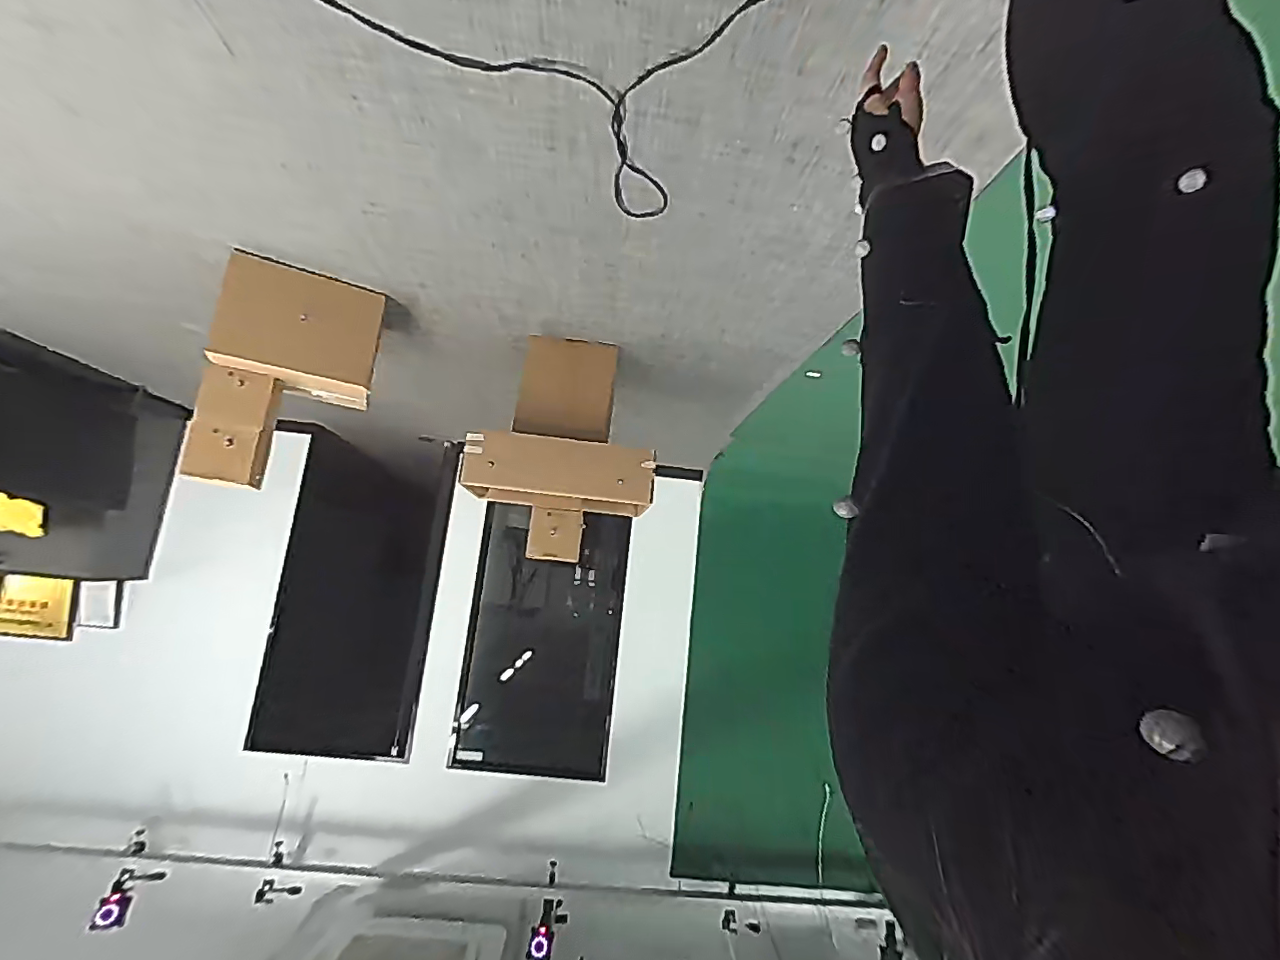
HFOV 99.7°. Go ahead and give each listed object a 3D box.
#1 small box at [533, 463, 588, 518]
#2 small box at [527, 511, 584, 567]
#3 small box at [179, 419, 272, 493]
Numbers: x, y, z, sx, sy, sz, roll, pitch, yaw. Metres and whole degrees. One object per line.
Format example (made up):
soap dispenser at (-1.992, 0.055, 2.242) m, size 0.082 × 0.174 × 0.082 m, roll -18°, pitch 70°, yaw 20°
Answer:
small box at (-0.277, 0.047, 1.911) m, size 0.168 × 0.176 × 0.179 m, roll 7°, pitch 168°, yaw -4°
small box at (-0.290, 0.207, 1.878) m, size 0.168 × 0.176 × 0.179 m, roll 7°, pitch 168°, yaw -1°
small box at (-1.214, -0.067, 1.598) m, size 0.168 × 0.176 × 0.179 m, roll 11°, pitch 168°, yaw -23°
